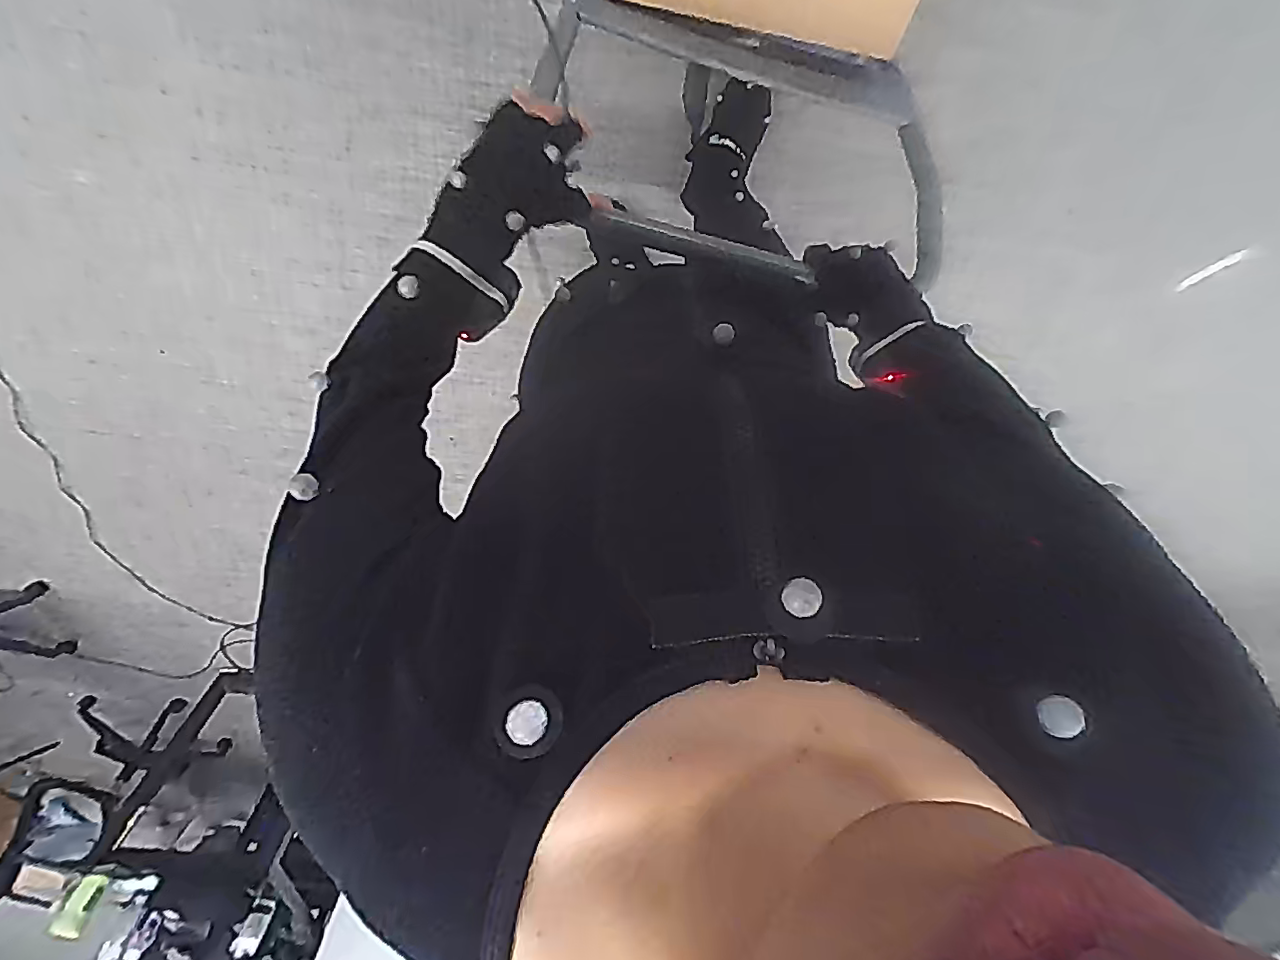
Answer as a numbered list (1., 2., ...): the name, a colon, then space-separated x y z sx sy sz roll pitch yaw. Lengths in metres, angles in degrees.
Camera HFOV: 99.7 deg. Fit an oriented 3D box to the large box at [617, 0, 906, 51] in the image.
1. large box: 0.176 -0.832 0.703 0.408 0.320 0.320 8 146 -5
